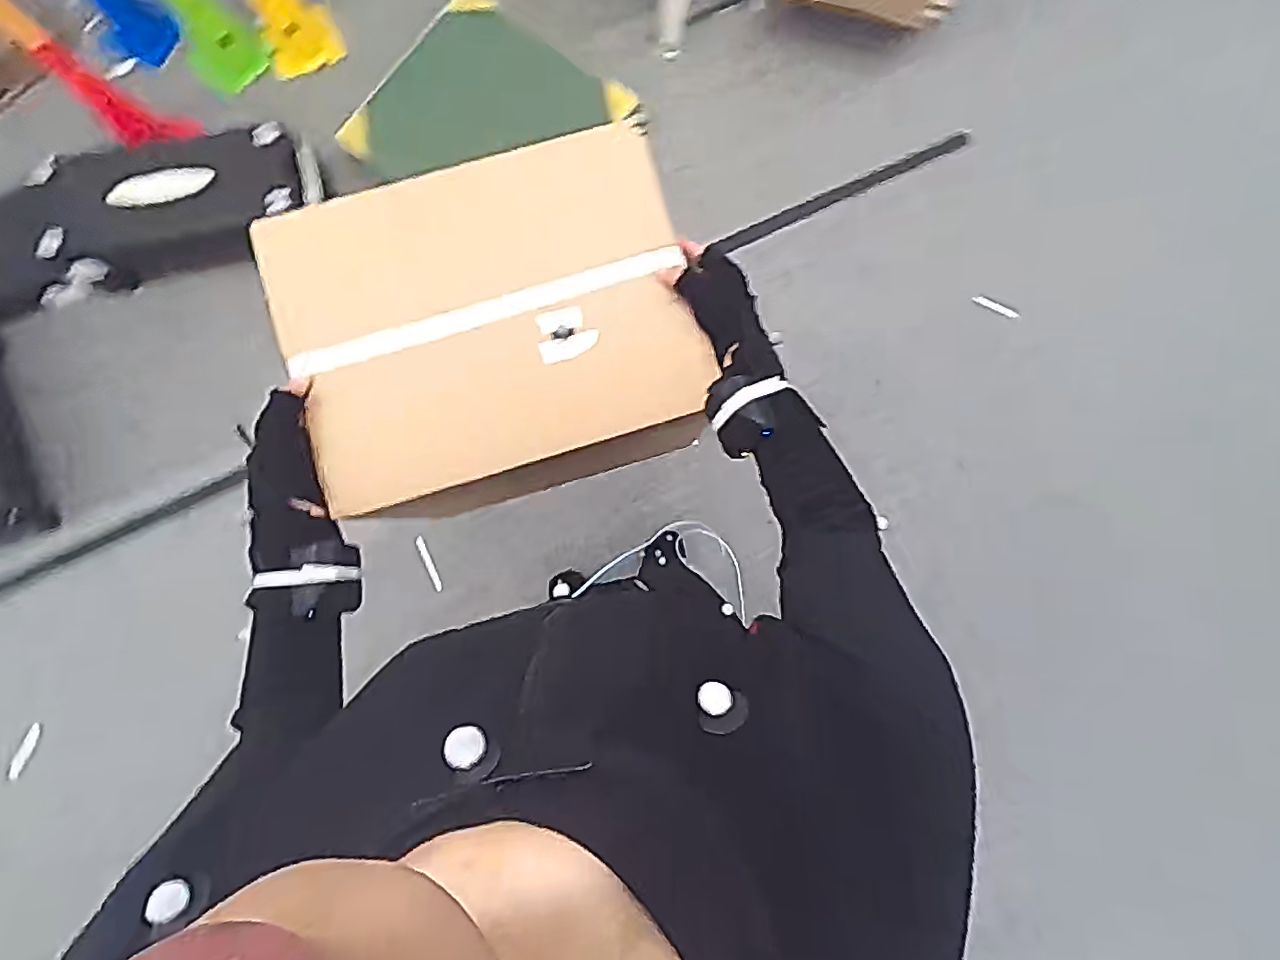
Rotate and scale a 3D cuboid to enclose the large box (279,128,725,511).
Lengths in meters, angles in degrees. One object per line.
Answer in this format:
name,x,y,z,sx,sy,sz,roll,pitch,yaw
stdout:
large box,-0.148,-0.163,0.705,0.408,0.320,0.320,-16,87,-3
